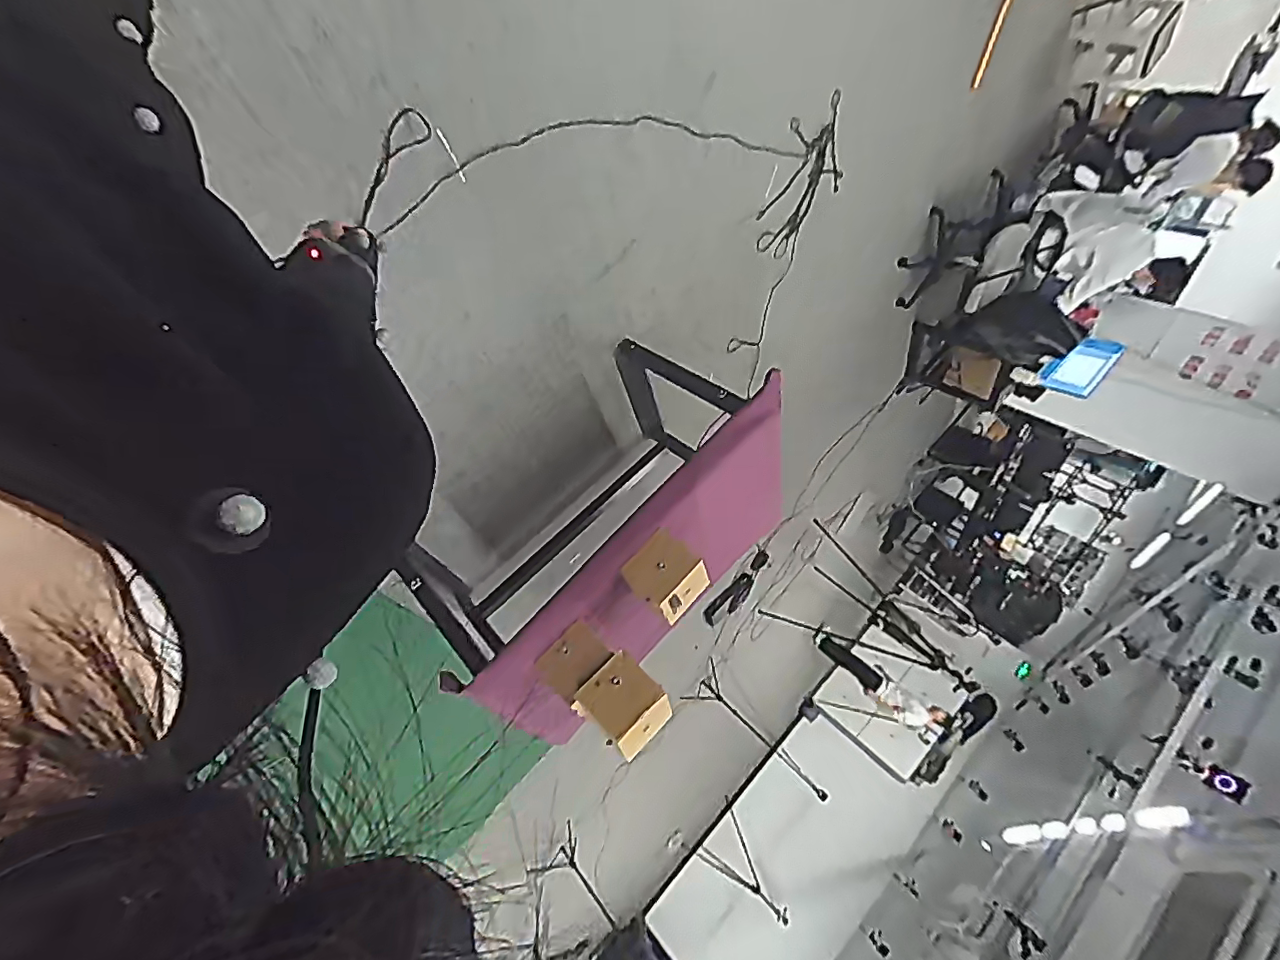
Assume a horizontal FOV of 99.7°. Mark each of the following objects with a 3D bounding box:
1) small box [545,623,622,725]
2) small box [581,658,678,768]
[{"bbox_3d":[-0.139,0.532,1.485,0.179,0.176,0.168,-44,145,-15],"label":"small box"},{"bbox_3d":[-0.025,0.590,1.382,0.168,0.176,0.179,-39,142,-22],"label":"small box"}]
